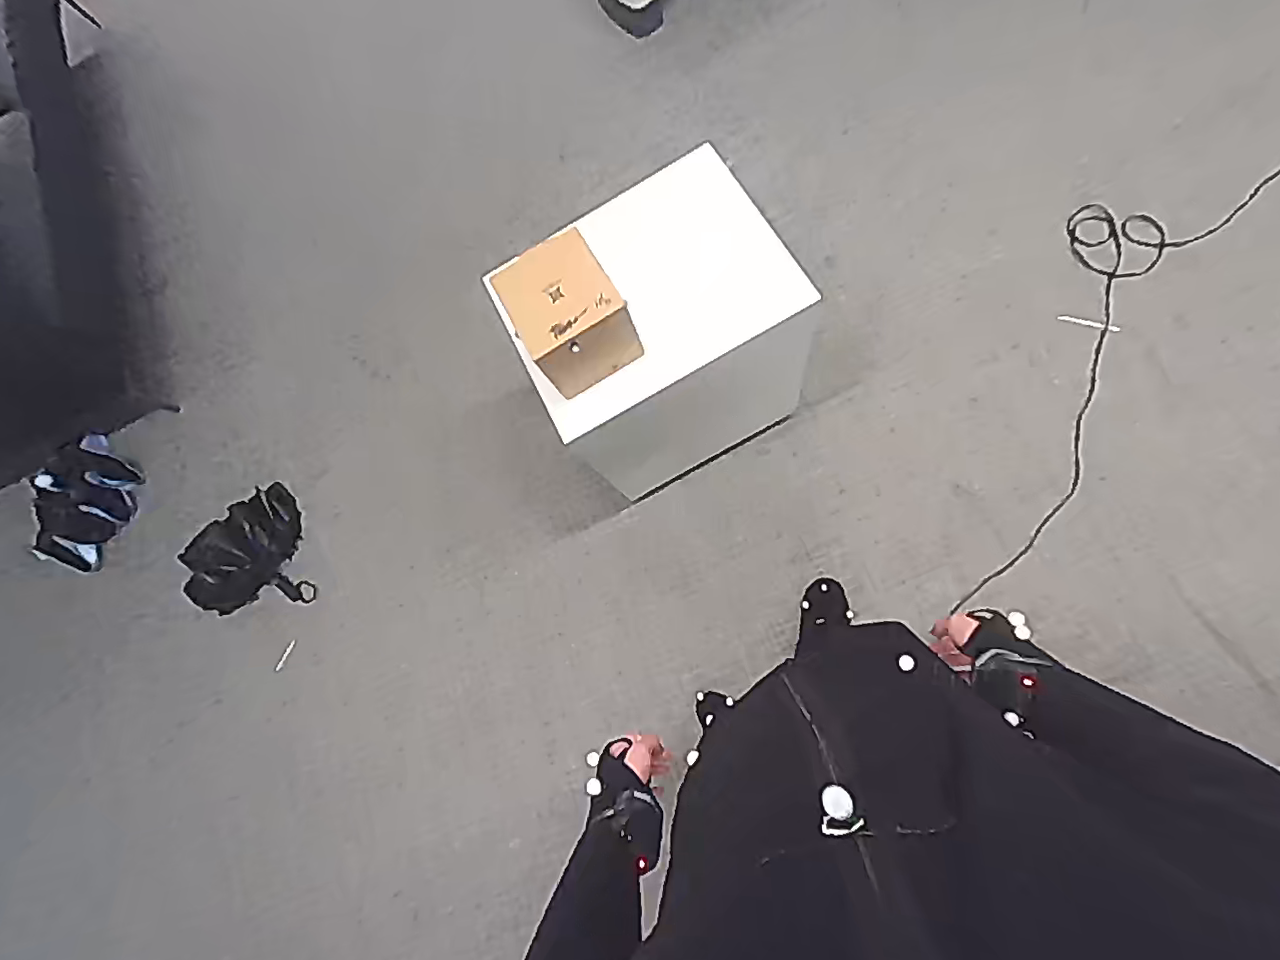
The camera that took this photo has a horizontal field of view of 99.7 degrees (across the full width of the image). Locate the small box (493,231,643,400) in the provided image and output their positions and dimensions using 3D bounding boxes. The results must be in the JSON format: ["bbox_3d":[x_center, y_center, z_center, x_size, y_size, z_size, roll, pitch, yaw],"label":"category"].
[{"bbox_3d":[-0.114,-0.267,0.911,0.168,0.176,0.179,-30,72,3],"label":"small box"}]
